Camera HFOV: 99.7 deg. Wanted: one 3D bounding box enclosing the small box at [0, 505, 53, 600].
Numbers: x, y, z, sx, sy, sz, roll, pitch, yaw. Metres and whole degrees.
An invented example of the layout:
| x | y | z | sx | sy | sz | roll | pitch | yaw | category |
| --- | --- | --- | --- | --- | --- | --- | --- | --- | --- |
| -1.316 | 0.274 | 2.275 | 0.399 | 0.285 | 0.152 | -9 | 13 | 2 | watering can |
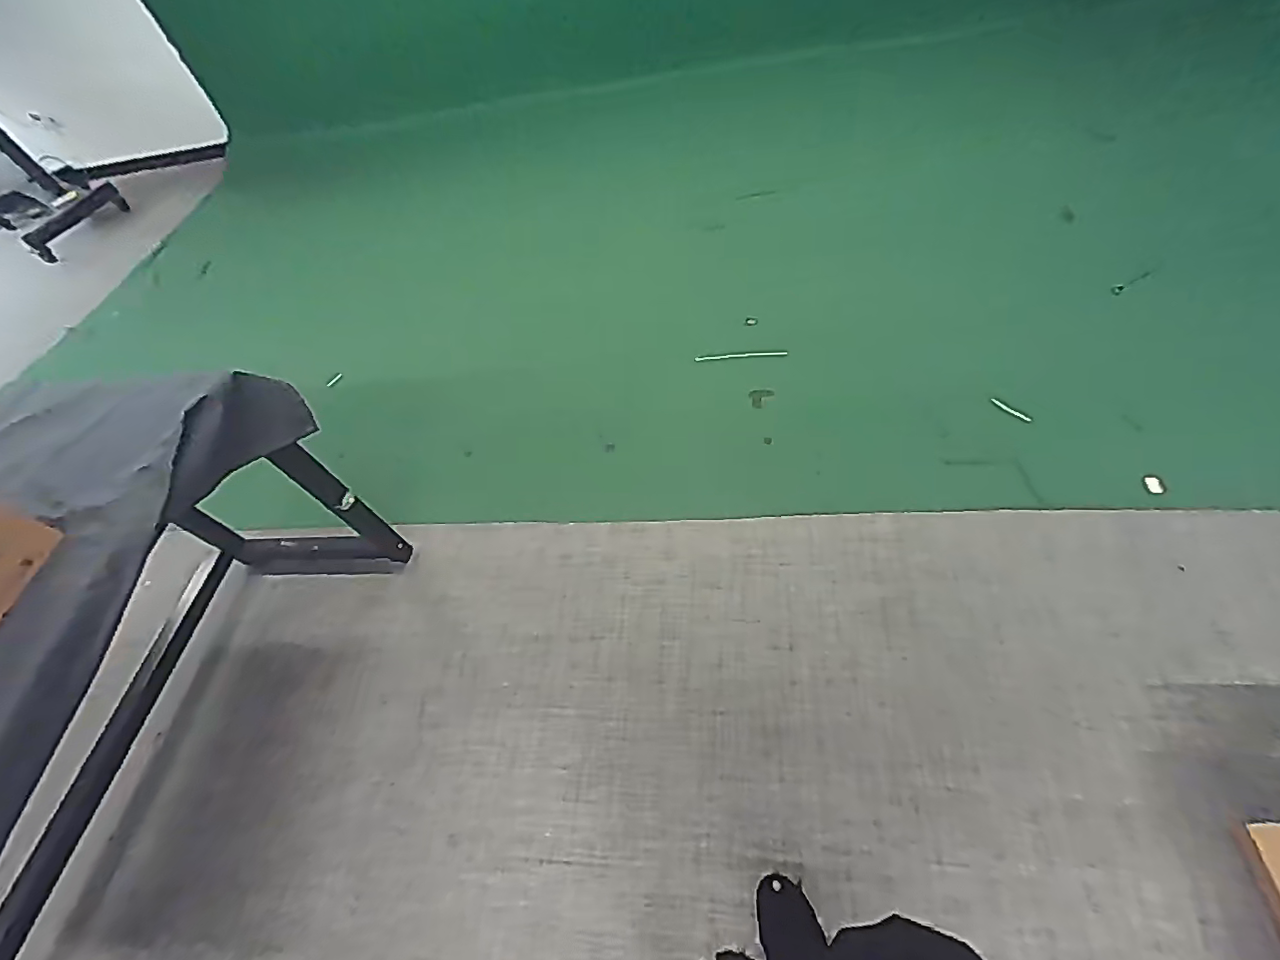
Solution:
| x | y | z | sx | sy | sz | roll | pitch | yaw | category |
| --- | --- | --- | --- | --- | --- | --- | --- | --- | --- |
| -1.046 | 0.106 | 0.785 | 0.179 | 0.176 | 0.168 | -1 | 56 | 10 | small box |
